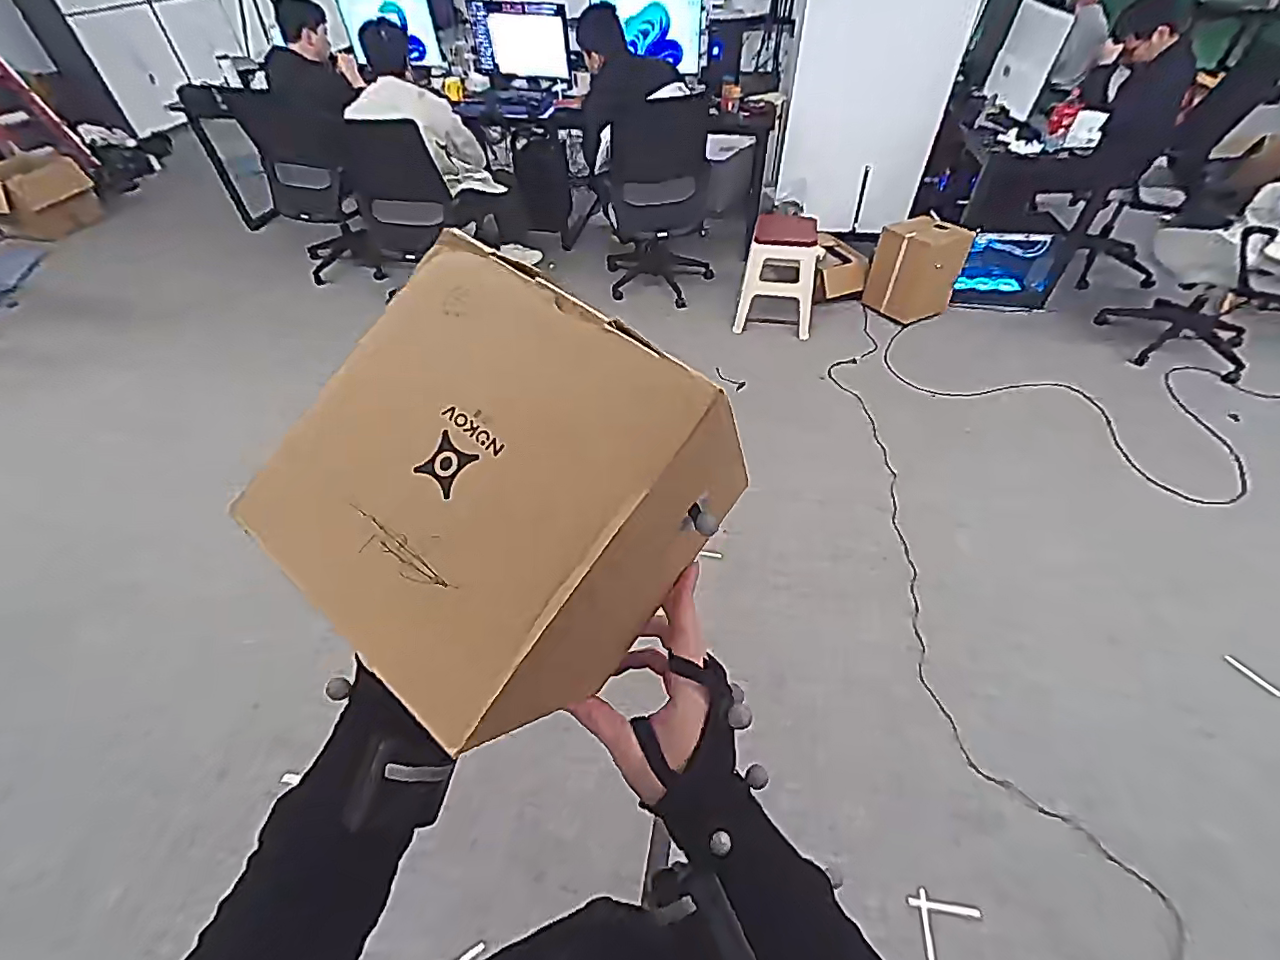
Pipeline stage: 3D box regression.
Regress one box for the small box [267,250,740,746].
[{"bbox_3d":[-0.055,0.012,0.320,0.168,0.176,0.179,34,88,21],"label":"small box"}]
